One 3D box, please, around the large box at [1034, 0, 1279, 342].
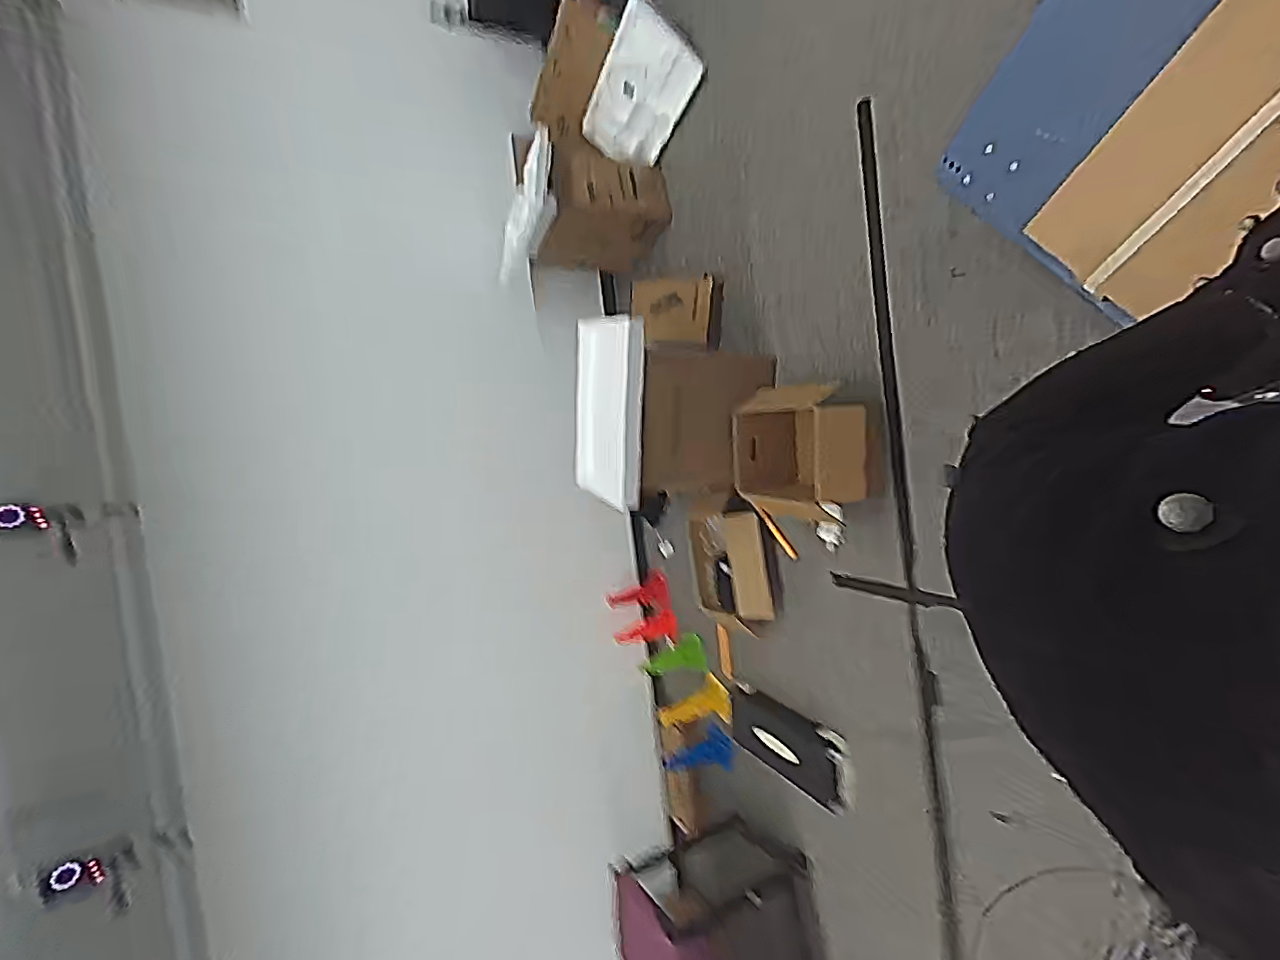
[{"bbox_3d":[0.916,-0.453,0.778,0.320,0.320,0.408,64,147,31],"label":"large box"}]
